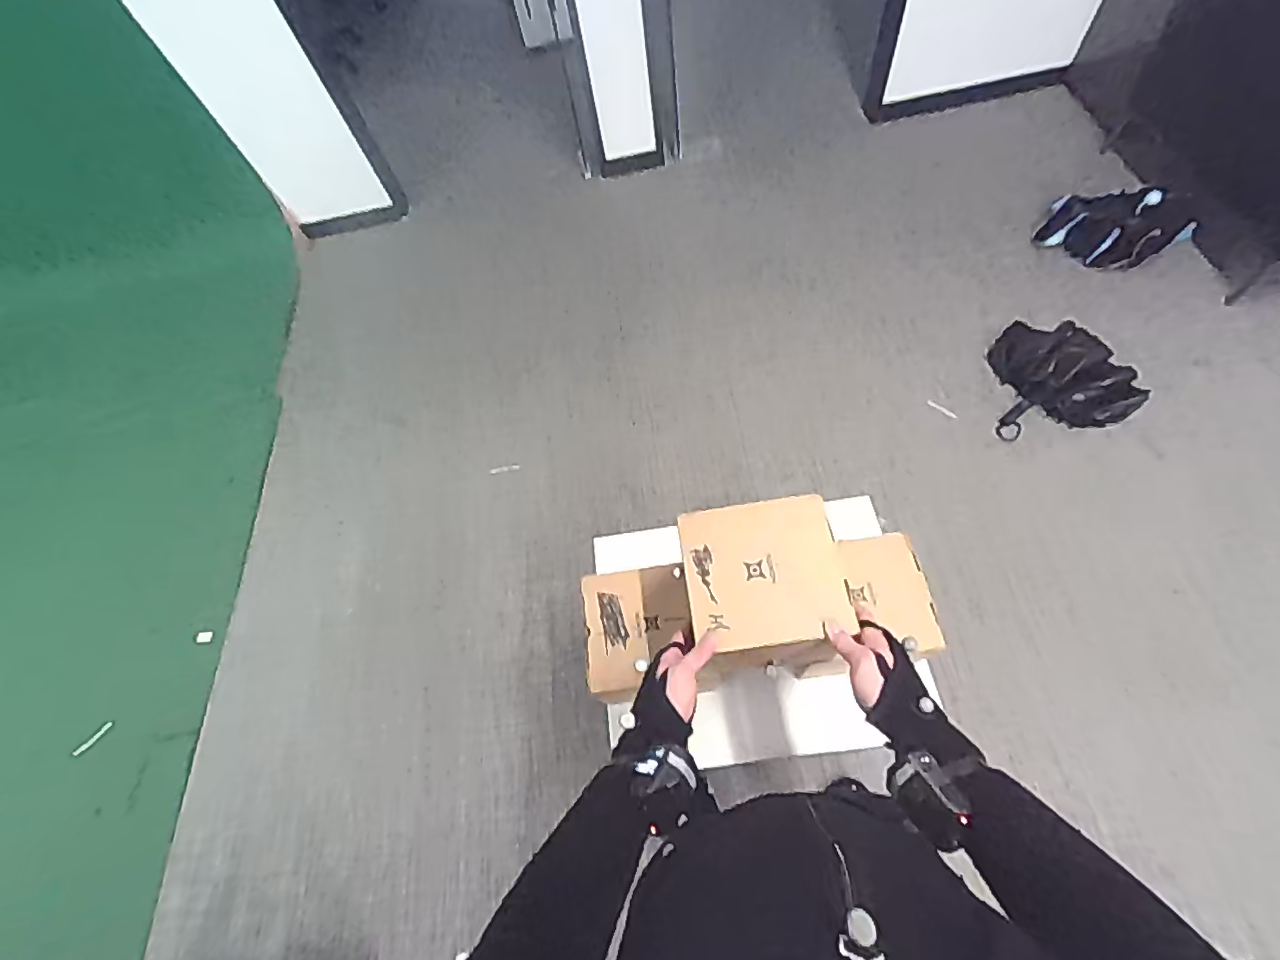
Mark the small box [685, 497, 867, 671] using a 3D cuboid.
[{"bbox_3d":[0.151,0.135,0.671,0.179,0.176,0.168,-7,63,2],"label":"small box"}]

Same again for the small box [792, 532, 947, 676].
[{"bbox_3d":[0.314,0.191,0.807,0.179,0.176,0.168,-8,62,4],"label":"small box"}]

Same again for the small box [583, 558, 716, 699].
[{"bbox_3d":[0.016,0.230,0.819,0.179,0.176,0.168,-7,63,1],"label":"small box"}]
